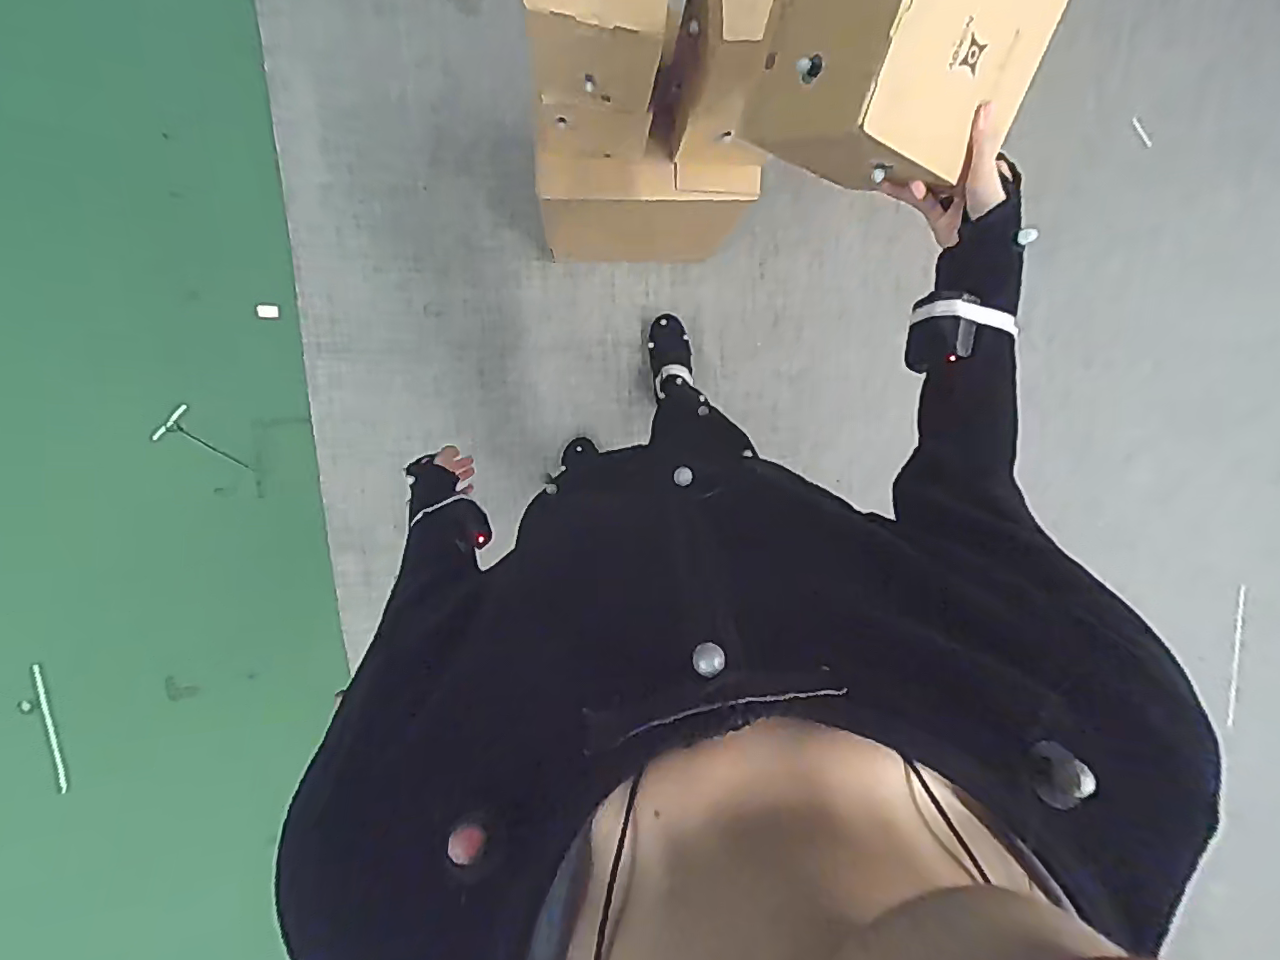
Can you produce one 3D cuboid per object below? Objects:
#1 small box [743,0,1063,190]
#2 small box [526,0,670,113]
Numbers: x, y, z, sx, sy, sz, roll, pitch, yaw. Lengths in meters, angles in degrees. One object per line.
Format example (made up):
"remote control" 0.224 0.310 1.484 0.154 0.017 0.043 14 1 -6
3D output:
"small box" 0.225 -0.381 0.493 0.179 0.176 0.168 3 116 -31
"small box" -0.048 -0.622 0.696 0.168 0.176 0.179 7 97 -7
